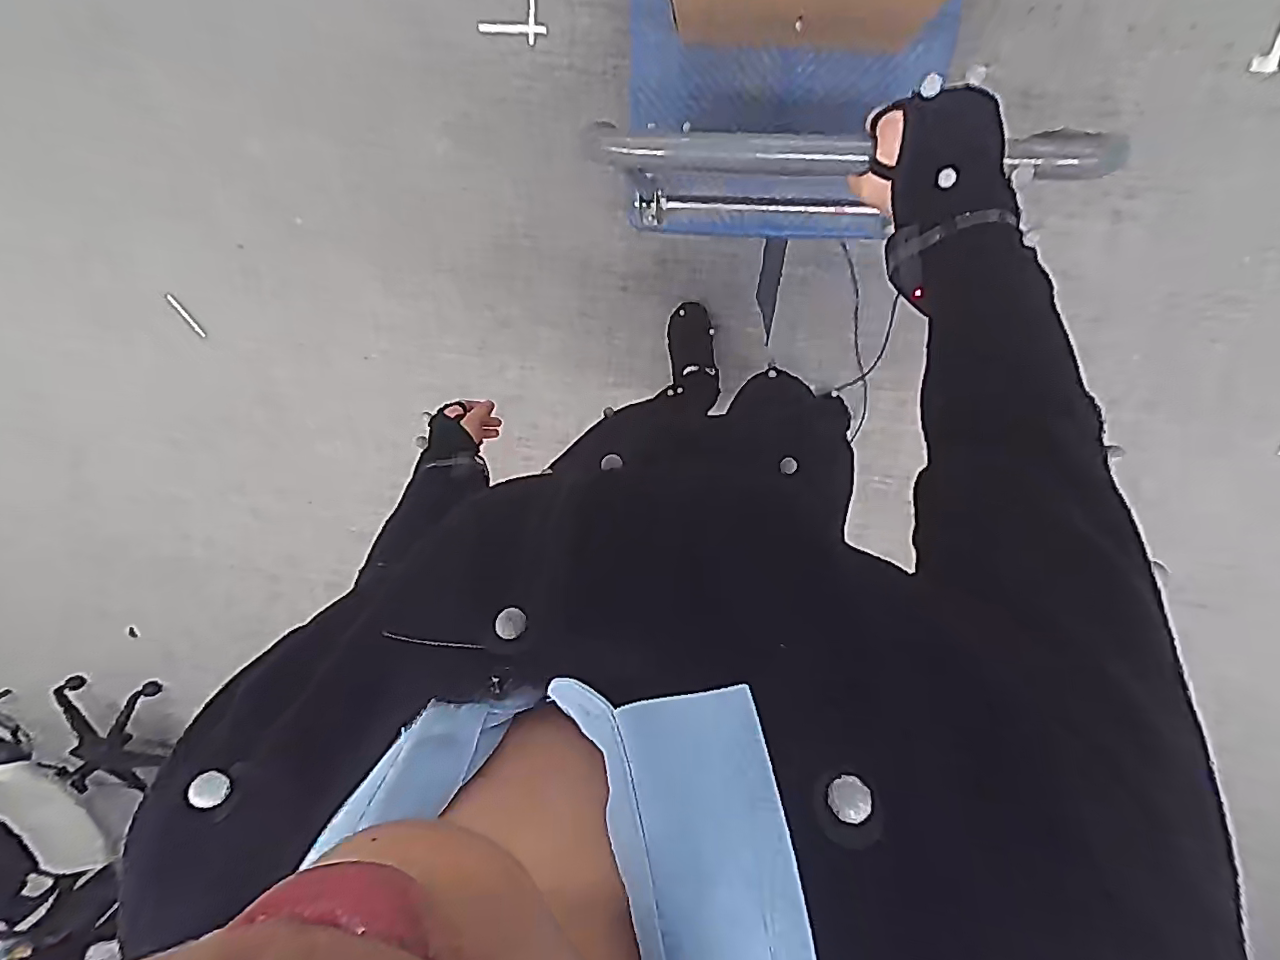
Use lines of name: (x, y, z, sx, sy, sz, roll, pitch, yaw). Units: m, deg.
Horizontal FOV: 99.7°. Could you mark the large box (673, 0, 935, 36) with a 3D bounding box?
large box: (0.256, -0.874, 0.773, 0.408, 0.320, 0.320, 6, 113, 7)
